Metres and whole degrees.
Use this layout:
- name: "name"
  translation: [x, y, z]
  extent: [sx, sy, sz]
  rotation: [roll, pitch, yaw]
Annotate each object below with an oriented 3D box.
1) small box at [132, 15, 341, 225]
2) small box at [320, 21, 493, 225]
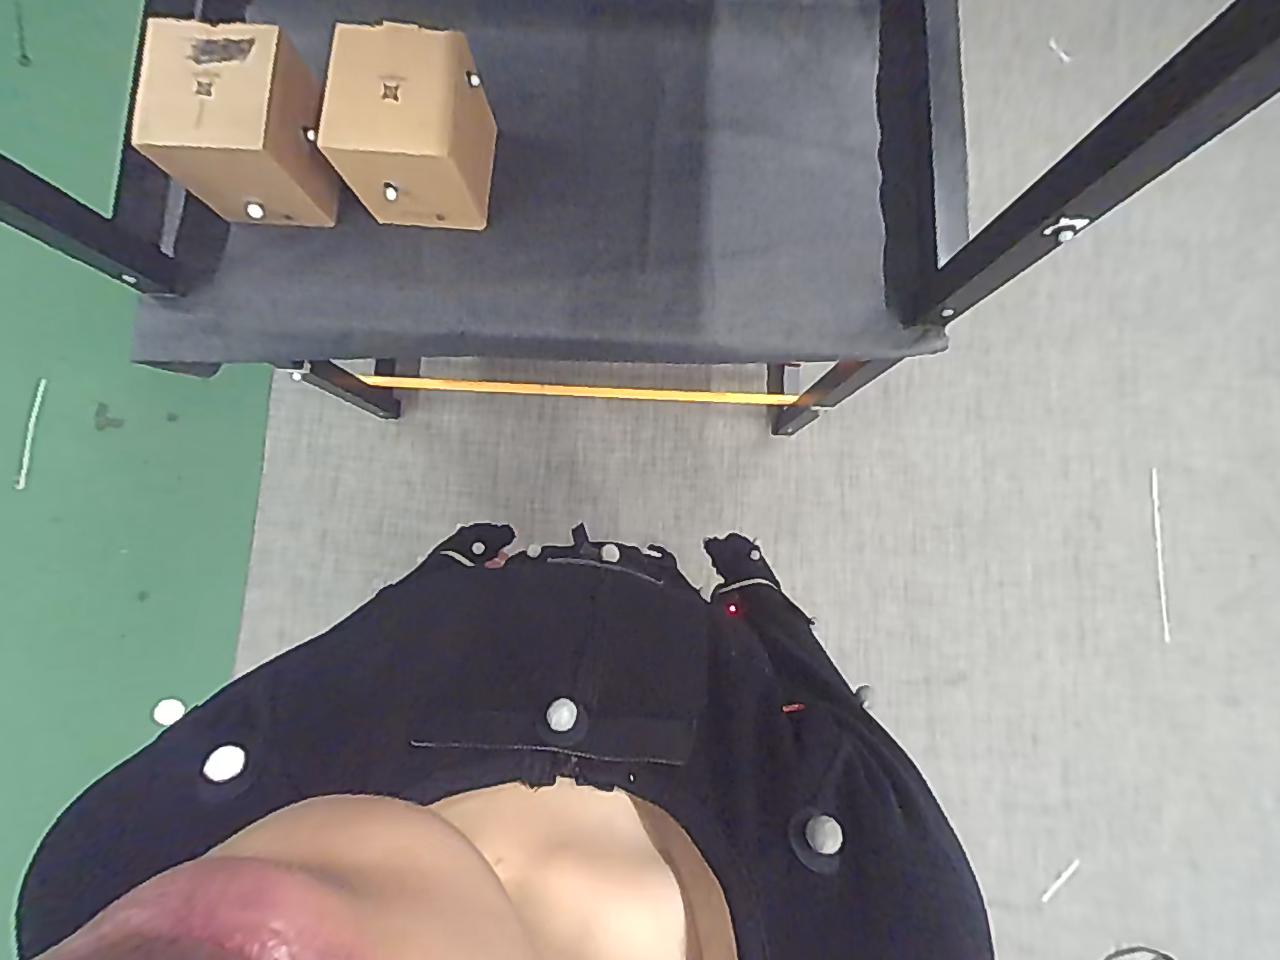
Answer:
- name: "small box"
  translation: [-0.541, -0.490, 0.756]
  extent: [0.168, 0.176, 0.179]
  rotation: [2, 84, -1]
- name: "small box"
  translation: [-0.314, -0.487, 0.762]
  extent: [0.168, 0.176, 0.179]
  rotation: [4, 83, -1]
